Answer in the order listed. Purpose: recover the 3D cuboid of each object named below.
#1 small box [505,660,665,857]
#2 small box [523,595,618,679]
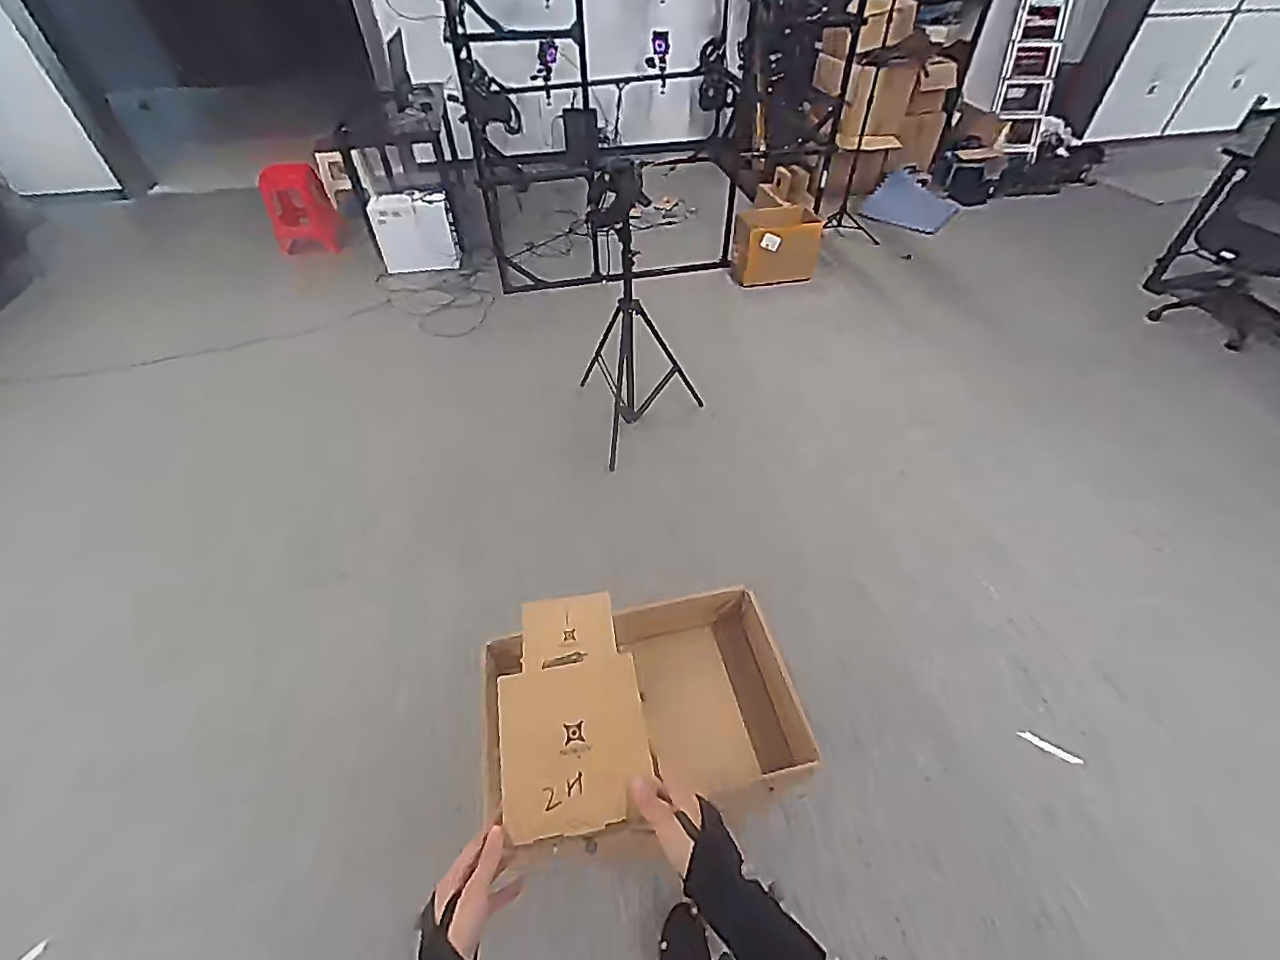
[{"bbox_3d":[-0.070,0.347,0.671,0.168,0.176,0.179,-8,55,-7],"label":"small box"},{"bbox_3d":[-0.125,0.344,1.020,0.168,0.176,0.179,-6,47,-6],"label":"small box"}]
